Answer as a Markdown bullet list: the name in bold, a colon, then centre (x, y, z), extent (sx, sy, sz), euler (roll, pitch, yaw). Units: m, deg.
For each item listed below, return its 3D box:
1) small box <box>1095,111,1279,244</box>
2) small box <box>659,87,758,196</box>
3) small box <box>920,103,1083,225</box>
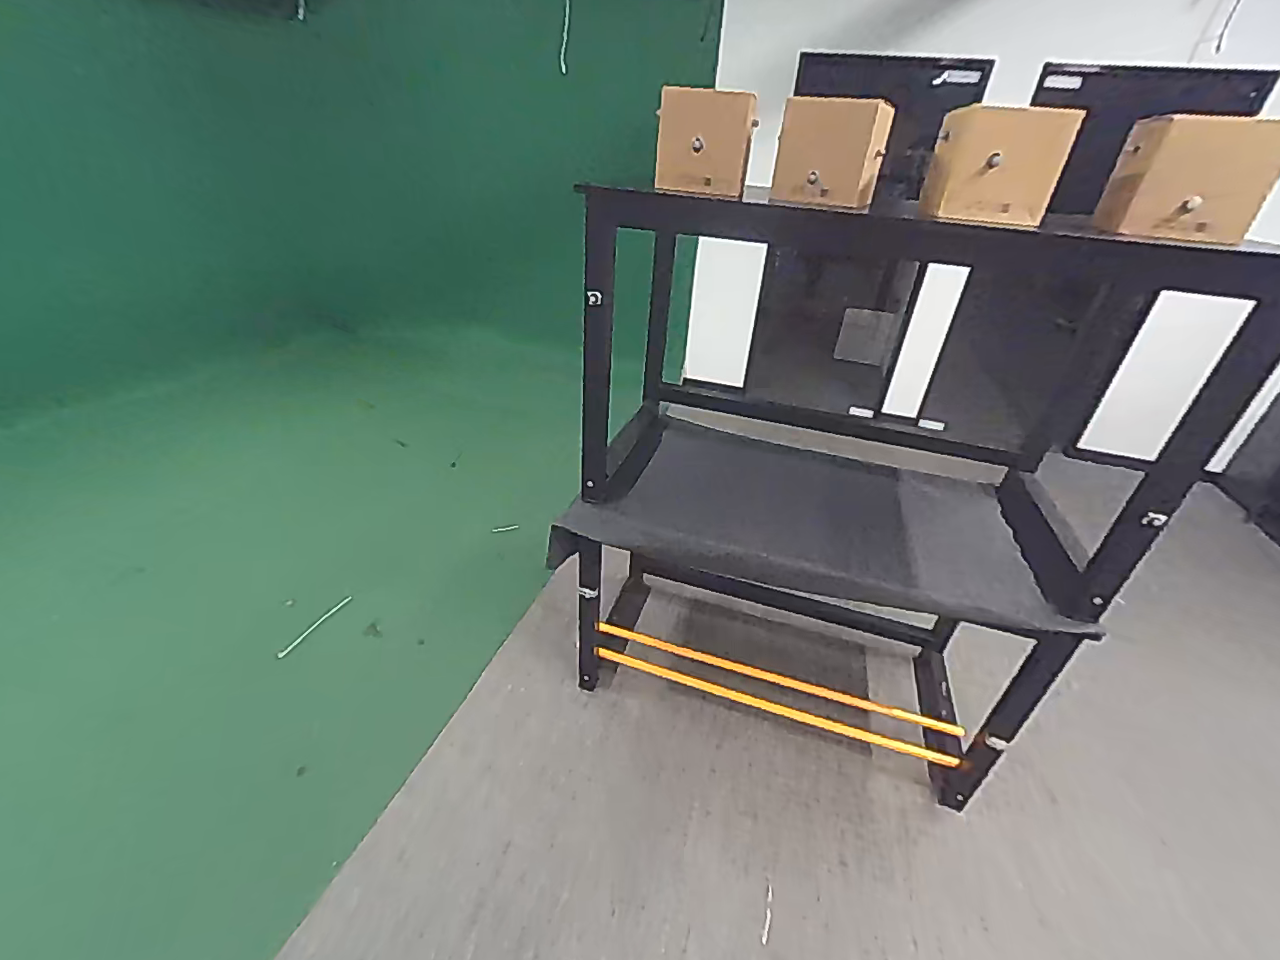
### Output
- **small box**: centre (0.902, -0.497, 0.893), extent (0.168, 0.176, 0.179), euler (15, 34, 18)
- **small box**: centre (0.136, -0.671, 1.080), extent (0.168, 0.176, 0.179), euler (11, 32, 9)
- **small box**: centre (0.621, -0.554, 0.956), extent (0.168, 0.176, 0.179), euler (10, 31, 9)
